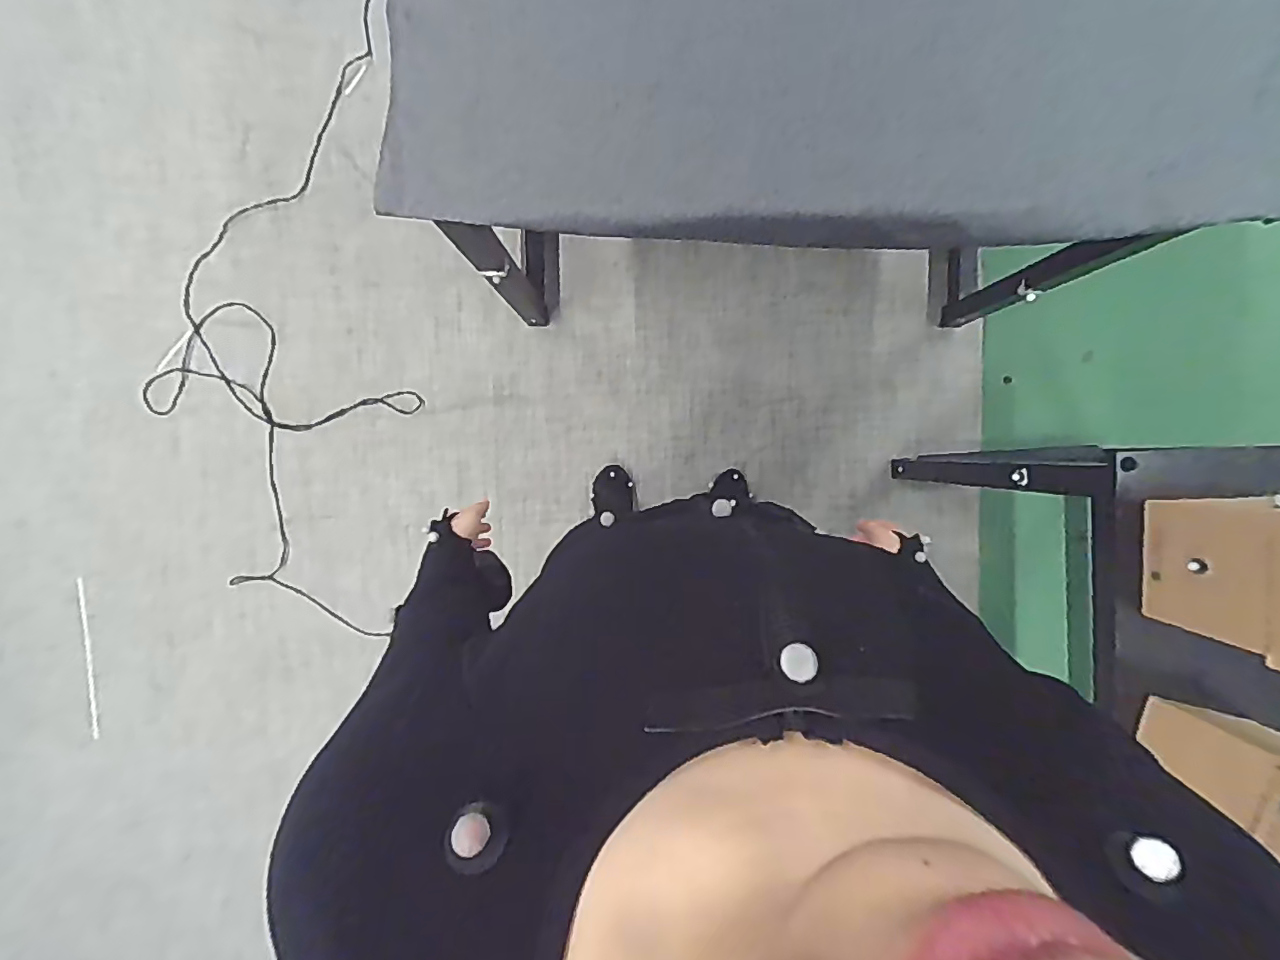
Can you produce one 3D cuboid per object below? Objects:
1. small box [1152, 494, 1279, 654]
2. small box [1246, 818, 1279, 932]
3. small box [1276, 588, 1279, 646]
[{"bbox_3d":[0.792,0.108,0.669,0.179,0.176,0.168,-2,94,1],"label":"small box"},{"bbox_3d":[0.774,0.429,0.523,0.179,0.176,0.168,16,94,0],"label":"small box"},{"bbox_3d":[0.773,0.124,0.508,0.168,0.176,0.179,-2,93,2],"label":"small box"}]
